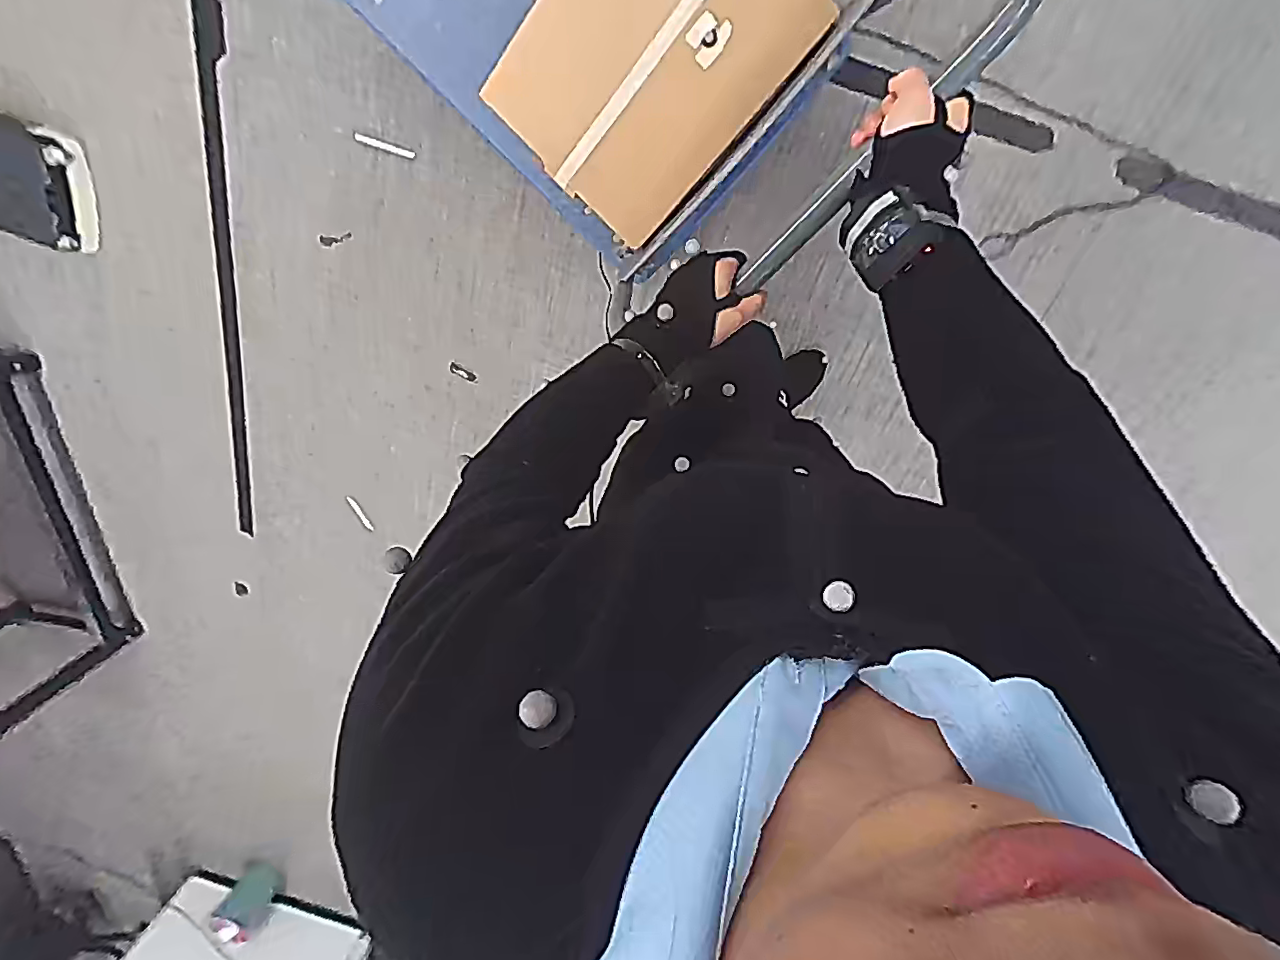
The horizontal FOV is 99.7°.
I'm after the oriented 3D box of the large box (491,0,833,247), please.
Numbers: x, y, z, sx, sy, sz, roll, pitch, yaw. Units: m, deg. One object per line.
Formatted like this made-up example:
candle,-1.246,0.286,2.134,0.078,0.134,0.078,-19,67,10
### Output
large box,0.029,-0.661,0.888,0.320,0.320,0.408,40,114,-17
